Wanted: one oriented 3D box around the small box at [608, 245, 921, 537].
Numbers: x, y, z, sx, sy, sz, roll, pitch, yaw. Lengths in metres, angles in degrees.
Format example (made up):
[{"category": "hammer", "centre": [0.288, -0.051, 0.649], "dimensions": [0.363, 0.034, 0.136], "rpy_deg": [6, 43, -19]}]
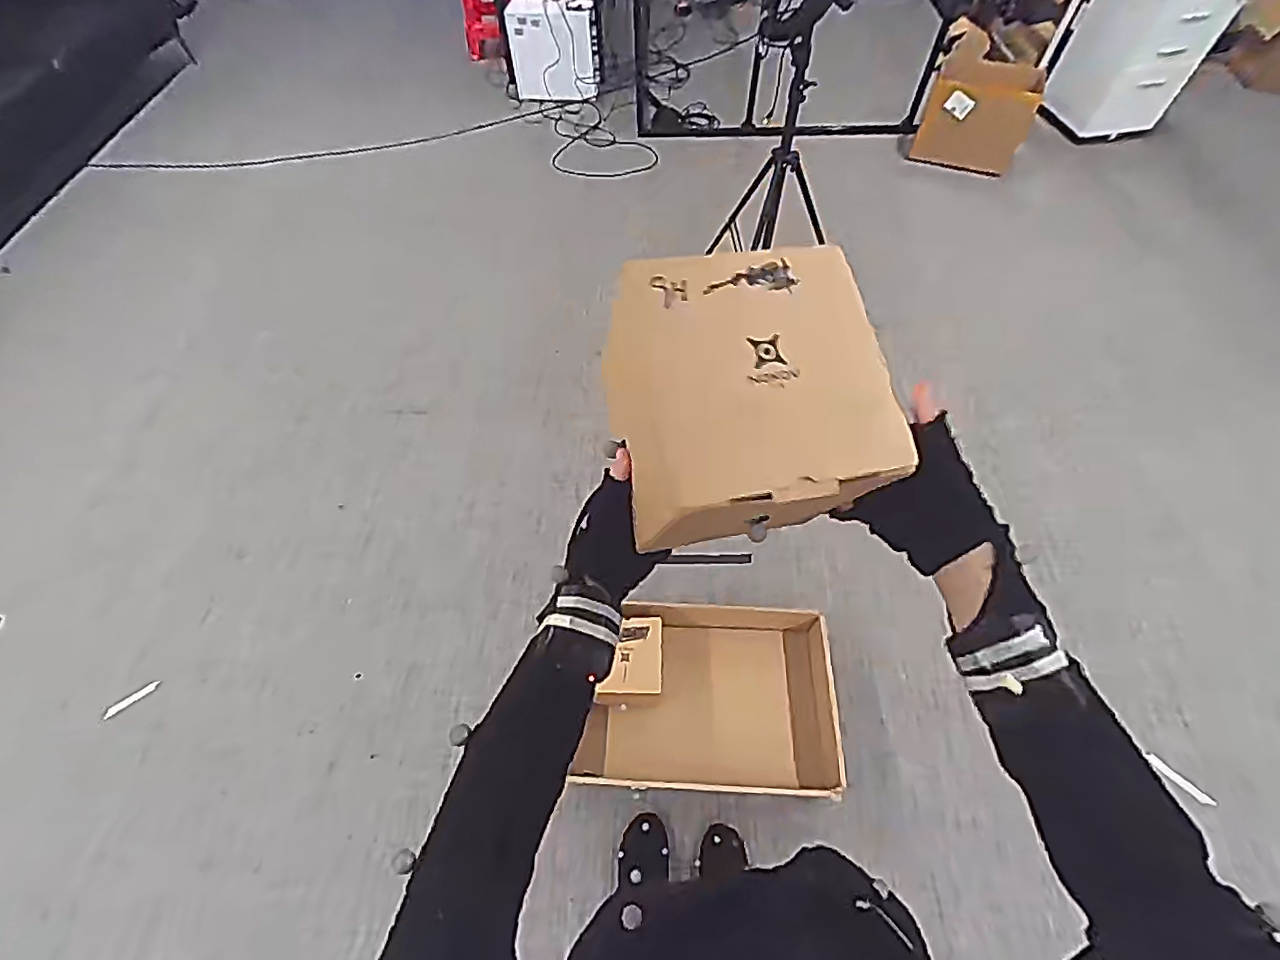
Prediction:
[{"category": "small box", "centre": [0.077, -0.056, 0.432], "dimensions": [0.168, 0.176, 0.179], "rpy_deg": [-9, 76, -14]}]
